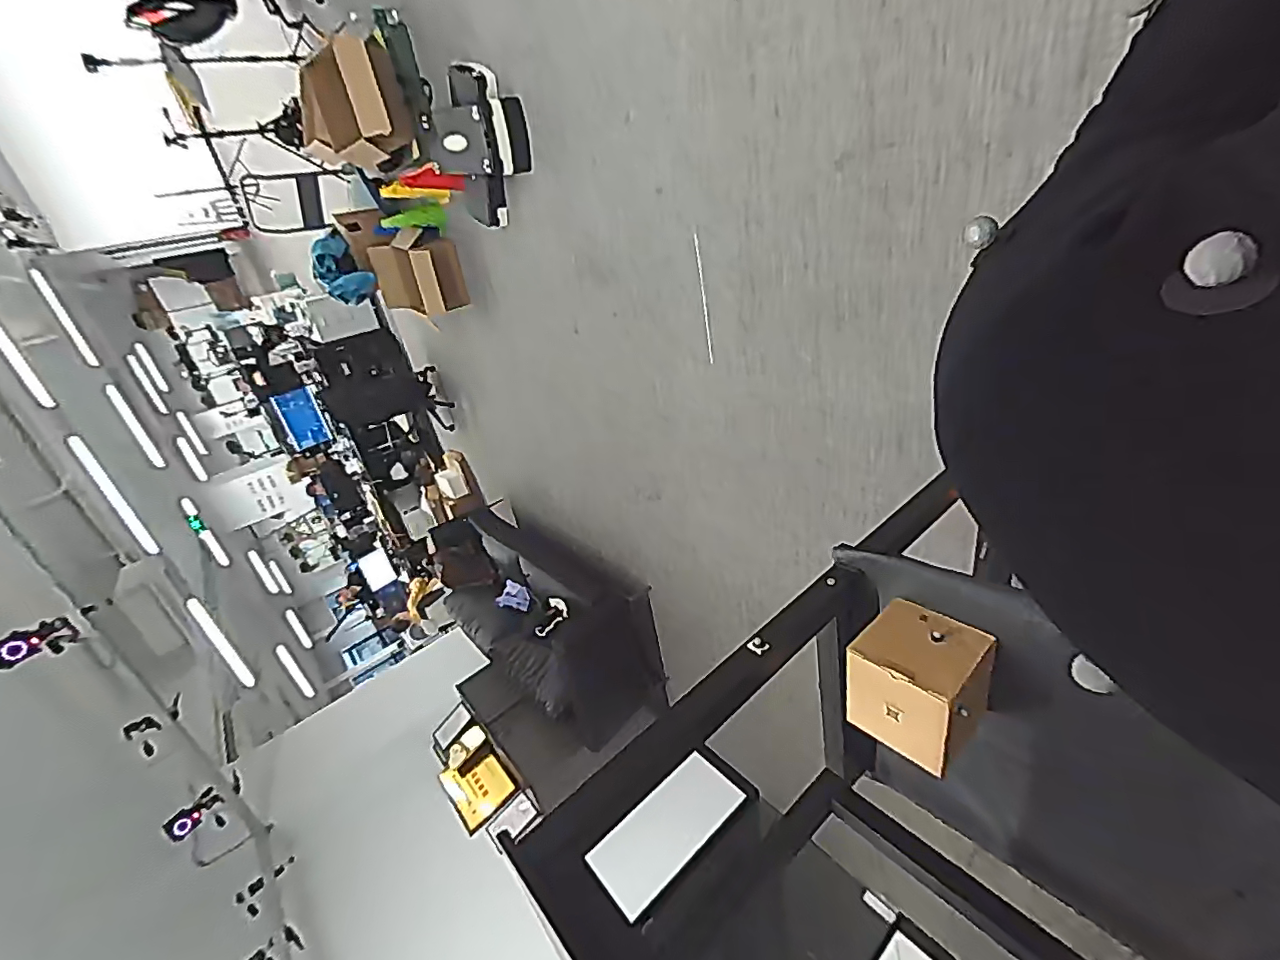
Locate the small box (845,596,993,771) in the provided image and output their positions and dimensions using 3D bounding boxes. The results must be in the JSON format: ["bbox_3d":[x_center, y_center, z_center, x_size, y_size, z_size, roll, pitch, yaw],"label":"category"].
[{"bbox_3d":[0.466,0.332,0.909,0.168,0.176,0.179,21,131,48],"label":"small box"}]
